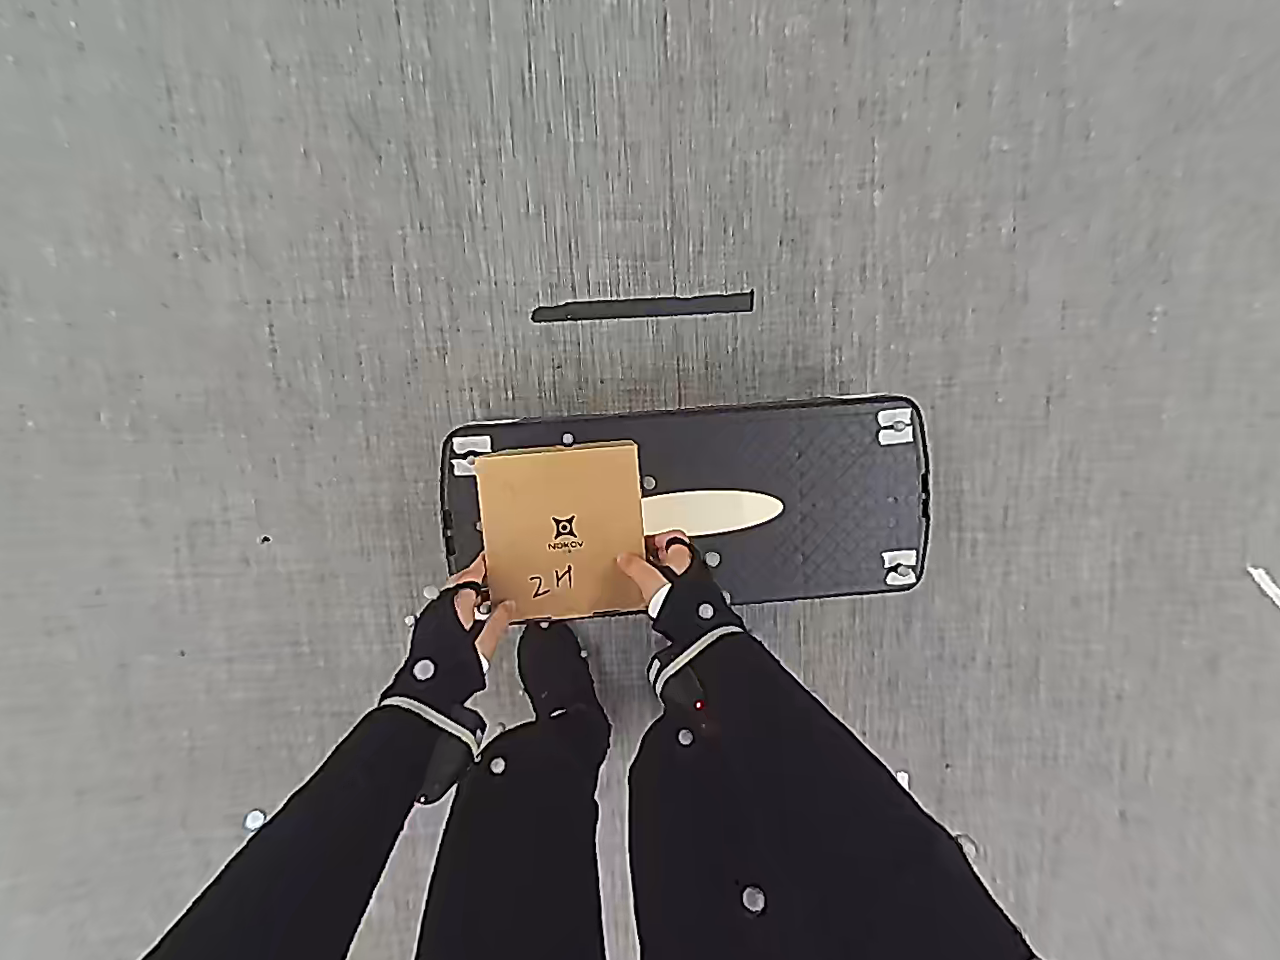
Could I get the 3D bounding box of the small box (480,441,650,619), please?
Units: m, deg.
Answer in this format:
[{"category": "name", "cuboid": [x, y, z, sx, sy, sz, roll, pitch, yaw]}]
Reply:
[{"category": "small box", "cuboid": [-0.081, 0.046, 0.634, 0.168, 0.176, 0.179, -5, 96, -2]}]
